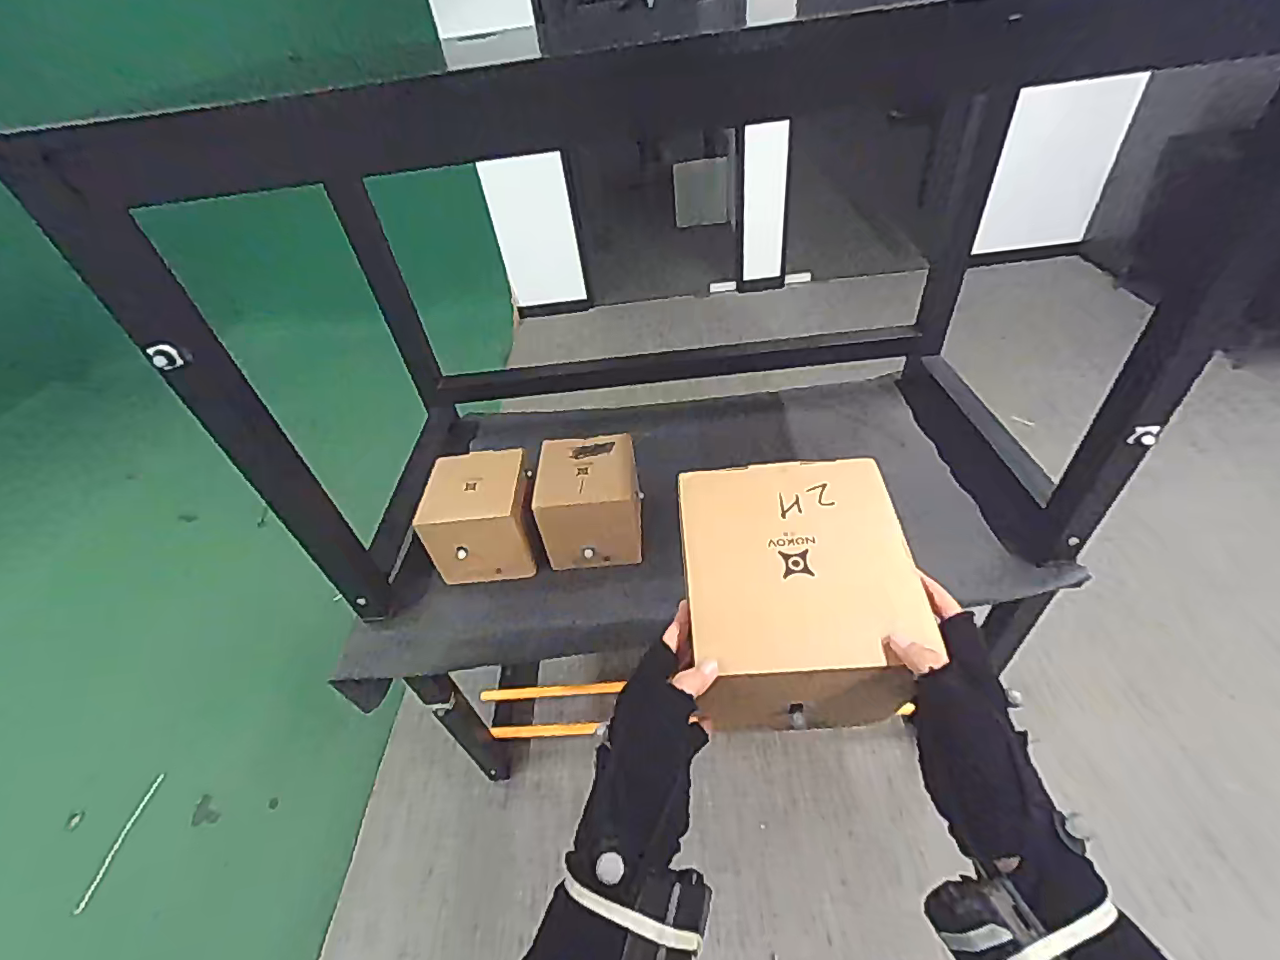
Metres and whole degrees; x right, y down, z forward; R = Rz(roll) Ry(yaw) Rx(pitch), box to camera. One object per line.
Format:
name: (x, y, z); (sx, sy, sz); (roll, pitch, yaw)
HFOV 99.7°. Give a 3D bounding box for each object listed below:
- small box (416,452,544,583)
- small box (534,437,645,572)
small box: (-0.278, 0.074, 0.988); (0.168, 0.176, 0.179); (-5, 41, 3)
small box: (-0.083, 0.045, 0.986); (0.168, 0.176, 0.179); (-6, 42, 4)
